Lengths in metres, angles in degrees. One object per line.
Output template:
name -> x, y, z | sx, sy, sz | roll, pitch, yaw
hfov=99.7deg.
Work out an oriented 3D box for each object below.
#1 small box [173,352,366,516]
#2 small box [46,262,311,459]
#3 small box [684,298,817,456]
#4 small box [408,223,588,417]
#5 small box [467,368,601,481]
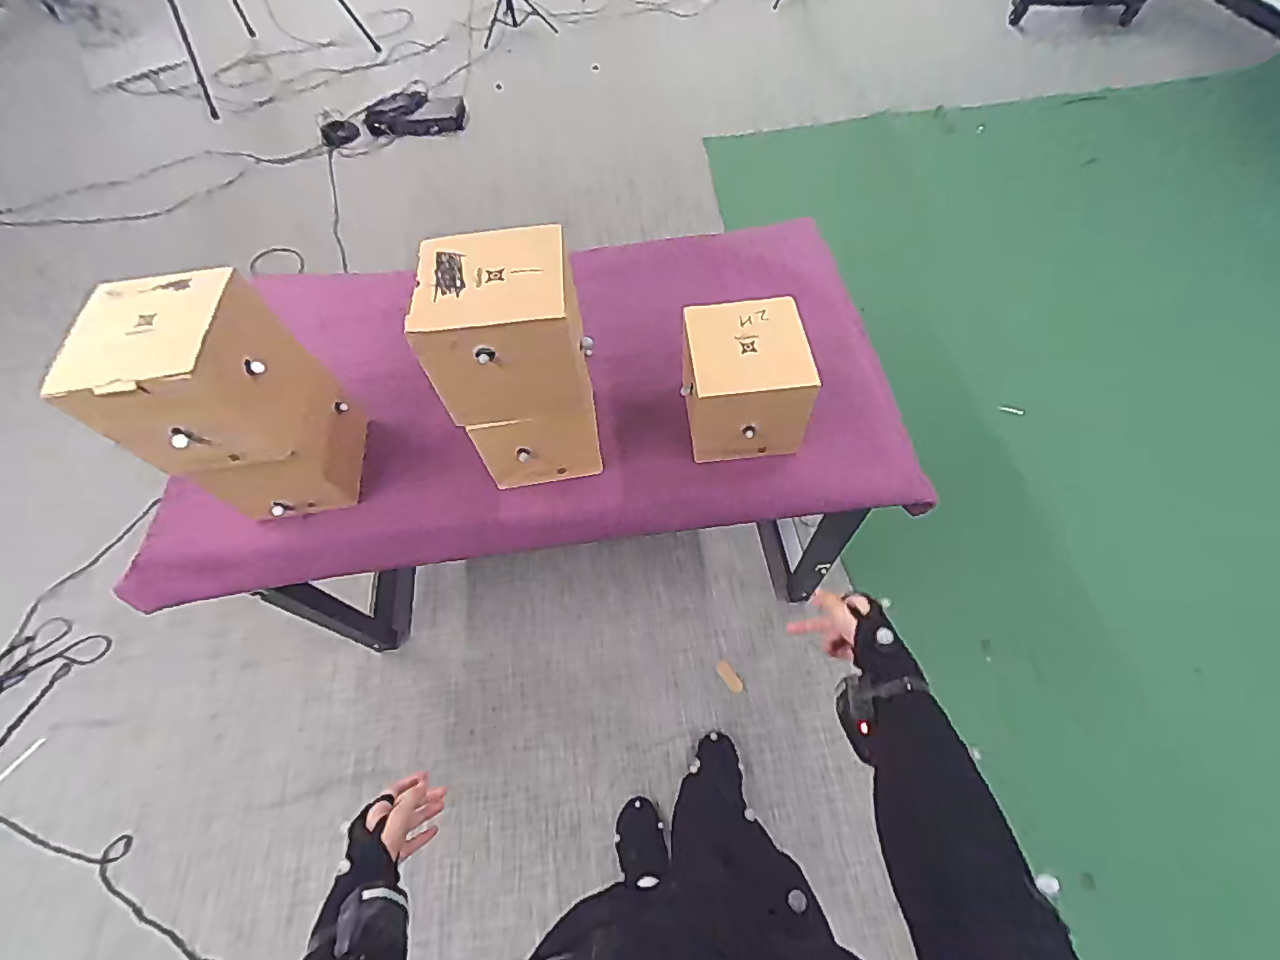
small box -> -0.543, -0.066, 0.825 | 0.168, 0.176, 0.179 | -9, 60, -1
small box -> -0.549, -0.139, 0.678 | 0.168, 0.176, 0.179 | -7, 60, -1
small box -> 0.157, -0.149, 0.830 | 0.168, 0.176, 0.179 | -5, 59, 1
small box -> -0.166, -0.195, 0.689 | 0.179, 0.176, 0.168 | -6, 59, 0
small box -> -0.156, -0.112, 0.830 | 0.168, 0.176, 0.179 | -9, 58, -1
